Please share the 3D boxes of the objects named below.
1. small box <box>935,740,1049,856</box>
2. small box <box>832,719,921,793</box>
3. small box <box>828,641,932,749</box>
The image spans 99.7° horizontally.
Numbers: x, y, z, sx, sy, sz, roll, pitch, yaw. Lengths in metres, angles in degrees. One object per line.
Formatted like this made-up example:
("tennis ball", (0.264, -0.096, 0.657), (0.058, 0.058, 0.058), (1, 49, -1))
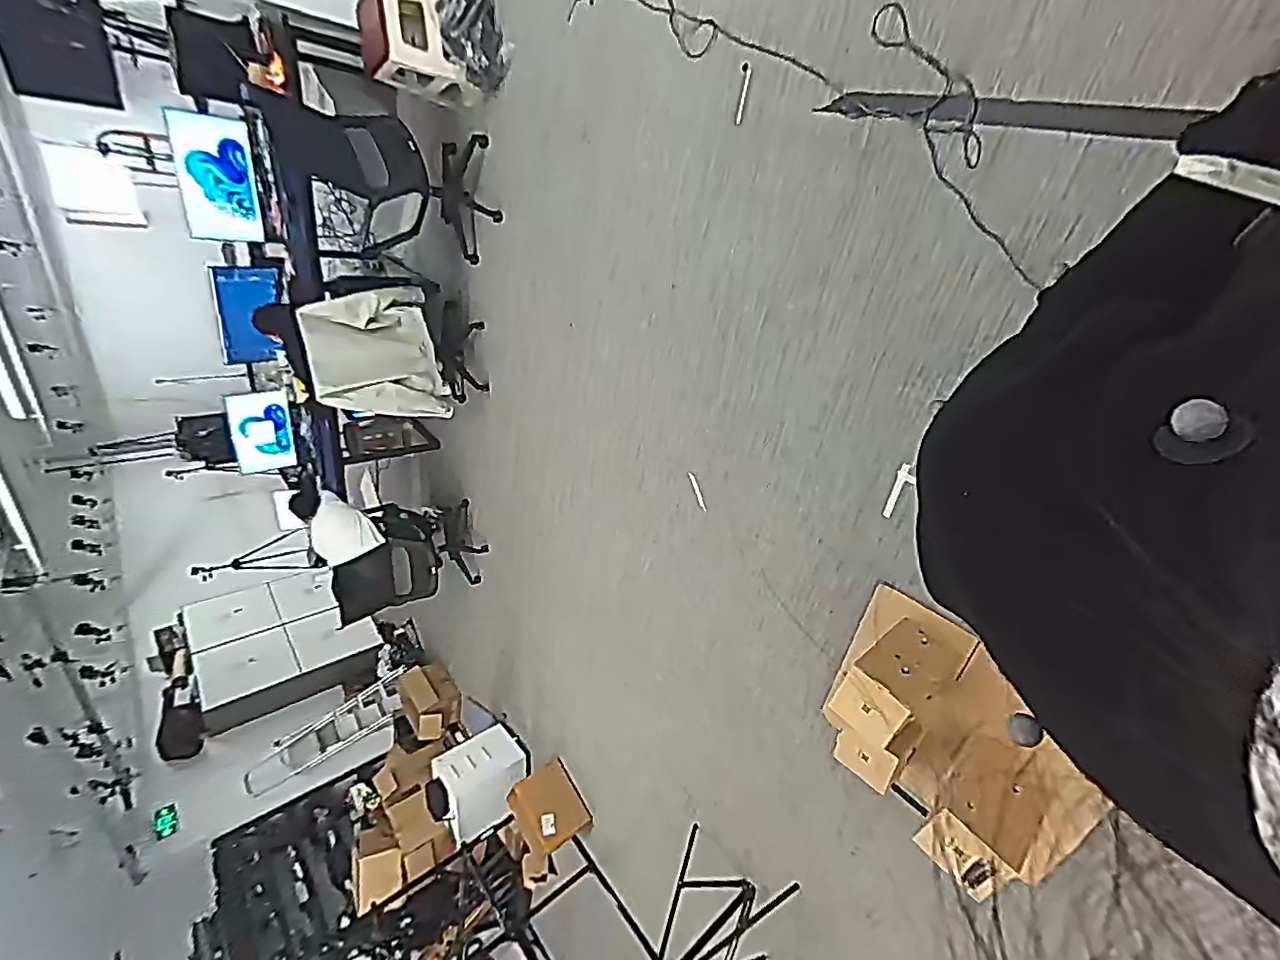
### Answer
("small box", (0.942, 0.840, 1.443), (0.179, 0.176, 0.168), (42, 131, 31))
("small box", (0.735, 0.815, 1.681), (0.179, 0.176, 0.168), (30, 125, 41))
("small box", (0.645, 0.569, 1.446), (0.168, 0.176, 0.179), (38, 127, 35))
